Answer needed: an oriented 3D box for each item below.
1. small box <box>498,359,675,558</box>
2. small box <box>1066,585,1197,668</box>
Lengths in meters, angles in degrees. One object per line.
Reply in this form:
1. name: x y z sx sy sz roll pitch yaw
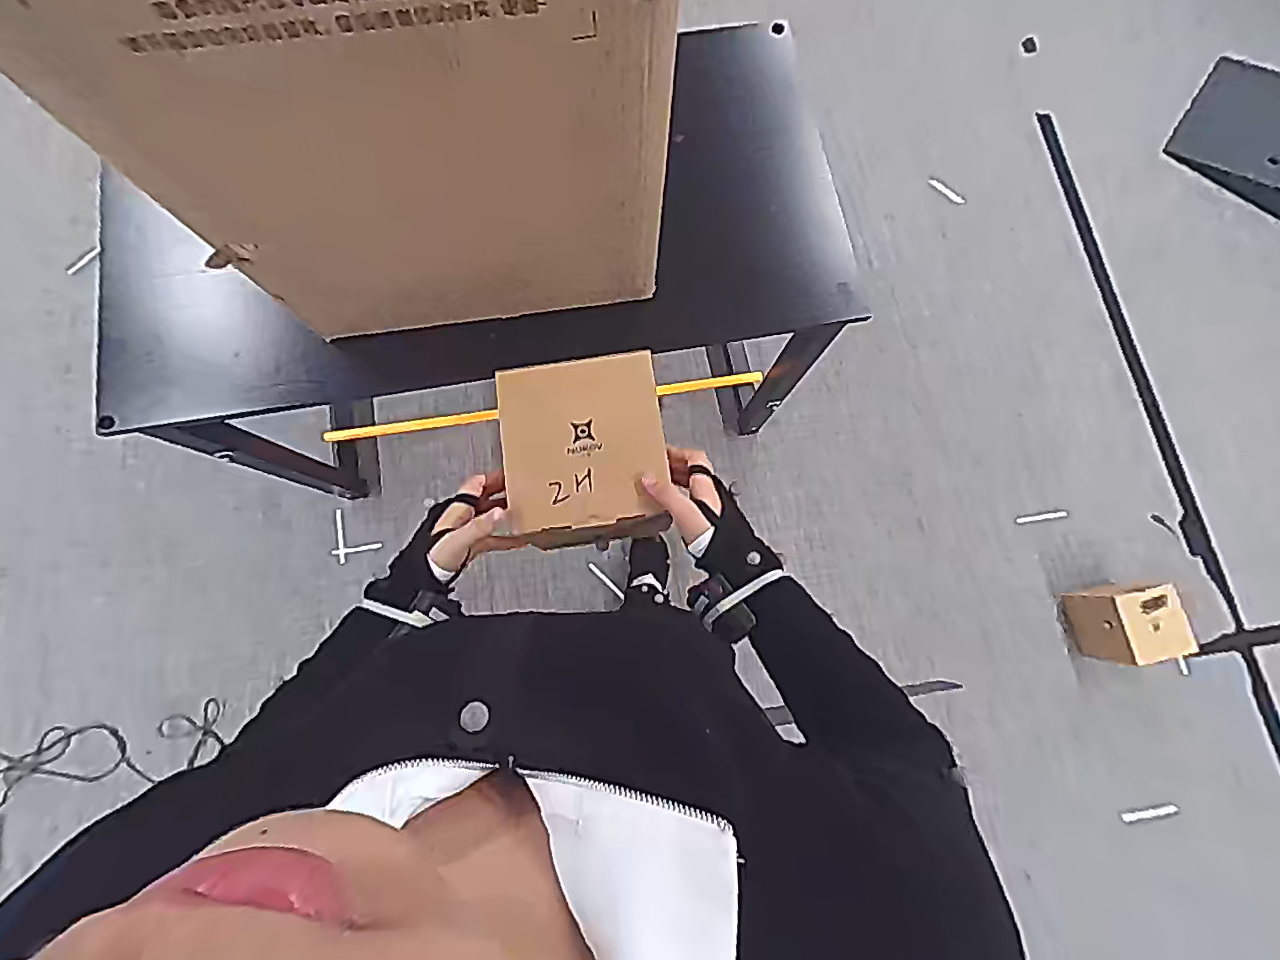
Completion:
1. small box: -0.057 -0.015 0.621 0.168 0.176 0.179 -8 76 -1
2. small box: 1.283 0.381 1.429 0.168 0.176 0.179 -12 80 -4
